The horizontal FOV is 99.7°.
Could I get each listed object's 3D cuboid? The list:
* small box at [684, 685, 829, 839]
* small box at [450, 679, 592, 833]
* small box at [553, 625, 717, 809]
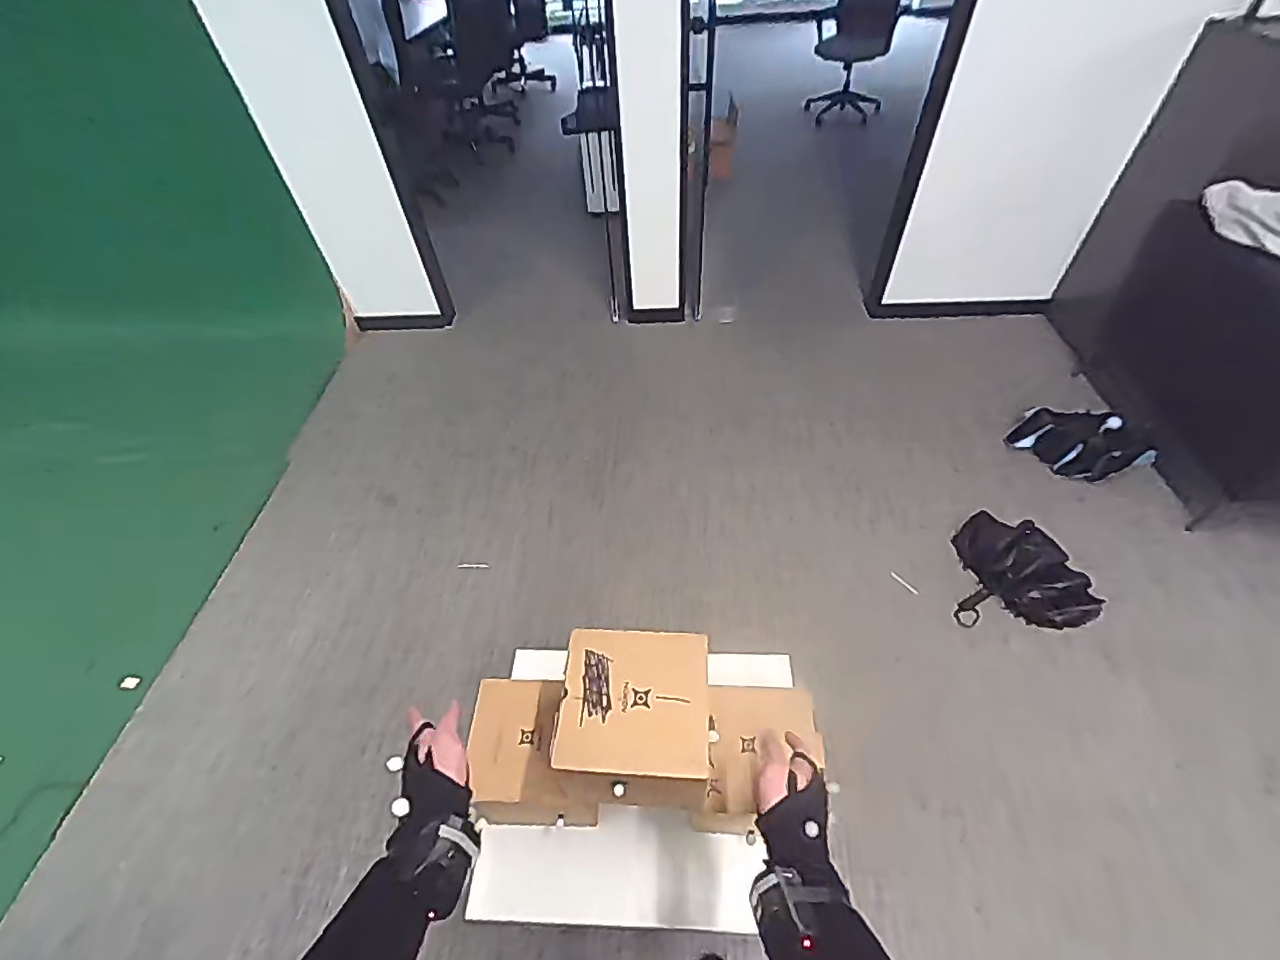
[{"bbox_3d":[0.156,0.414,0.791,0.179,0.176,0.168,1,49,2],"label":"small box"},{"bbox_3d":[-0.156,0.407,0.796,0.179,0.176,0.168,0,47,0],"label":"small box"},{"bbox_3d":[0.000,0.298,0.675,0.179,0.176,0.168,2,49,2],"label":"small box"}]
